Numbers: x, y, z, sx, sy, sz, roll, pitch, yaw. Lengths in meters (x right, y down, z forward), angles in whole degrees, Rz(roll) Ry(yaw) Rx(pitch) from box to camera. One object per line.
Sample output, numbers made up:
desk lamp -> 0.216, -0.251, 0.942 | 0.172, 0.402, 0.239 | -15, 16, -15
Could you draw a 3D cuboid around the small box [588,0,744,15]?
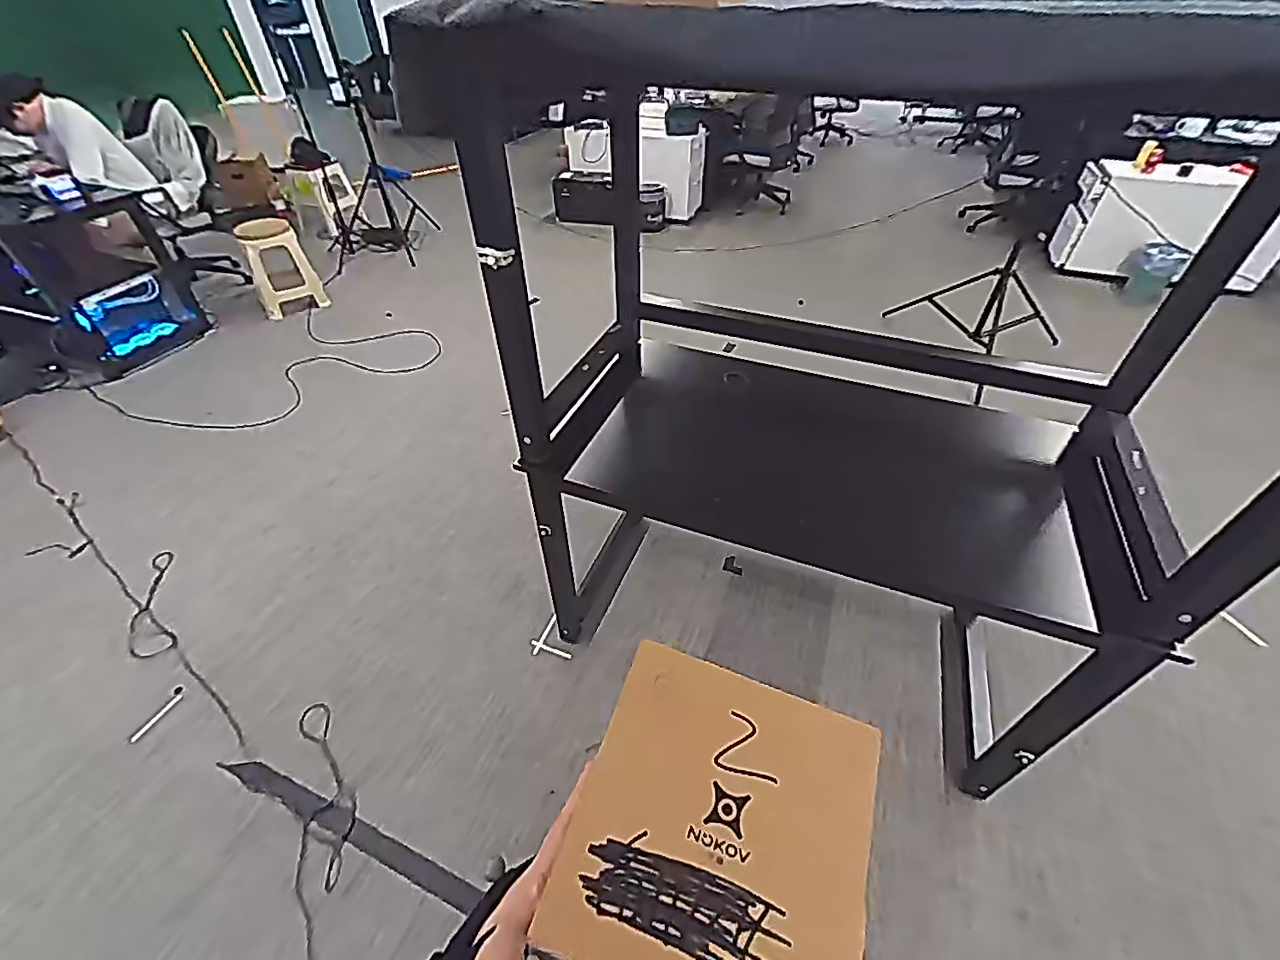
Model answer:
small box -> 0.035, -0.638, 0.608 | 0.168, 0.176, 0.179 | 14, 43, 13
